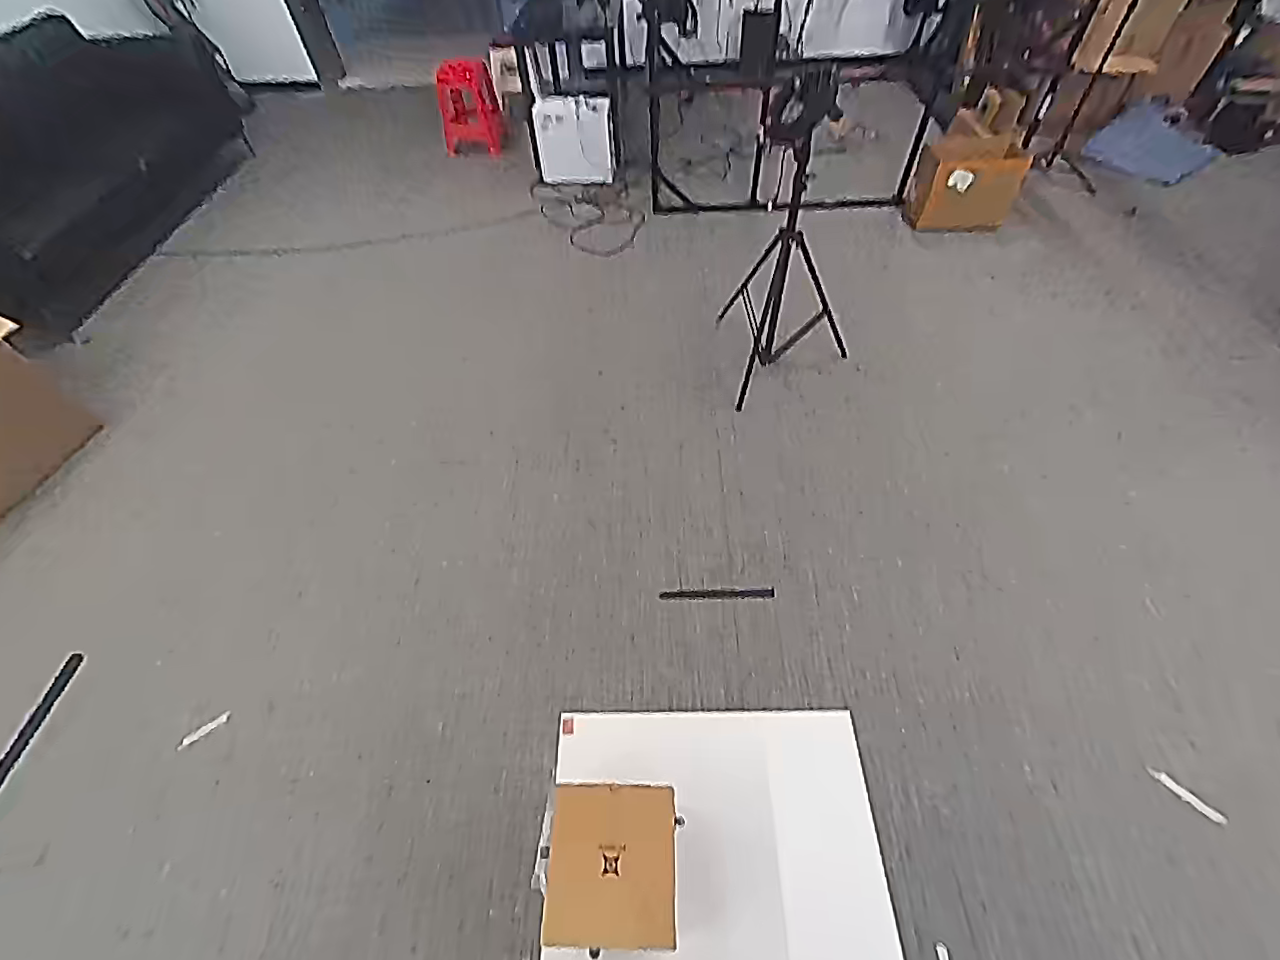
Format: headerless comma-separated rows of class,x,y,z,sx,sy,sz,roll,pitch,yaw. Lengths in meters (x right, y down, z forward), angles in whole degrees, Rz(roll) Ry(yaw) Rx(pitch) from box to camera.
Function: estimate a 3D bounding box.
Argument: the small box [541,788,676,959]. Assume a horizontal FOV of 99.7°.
small box,-0.032,0.543,0.756,0.168,0.176,0.179,0,52,2
